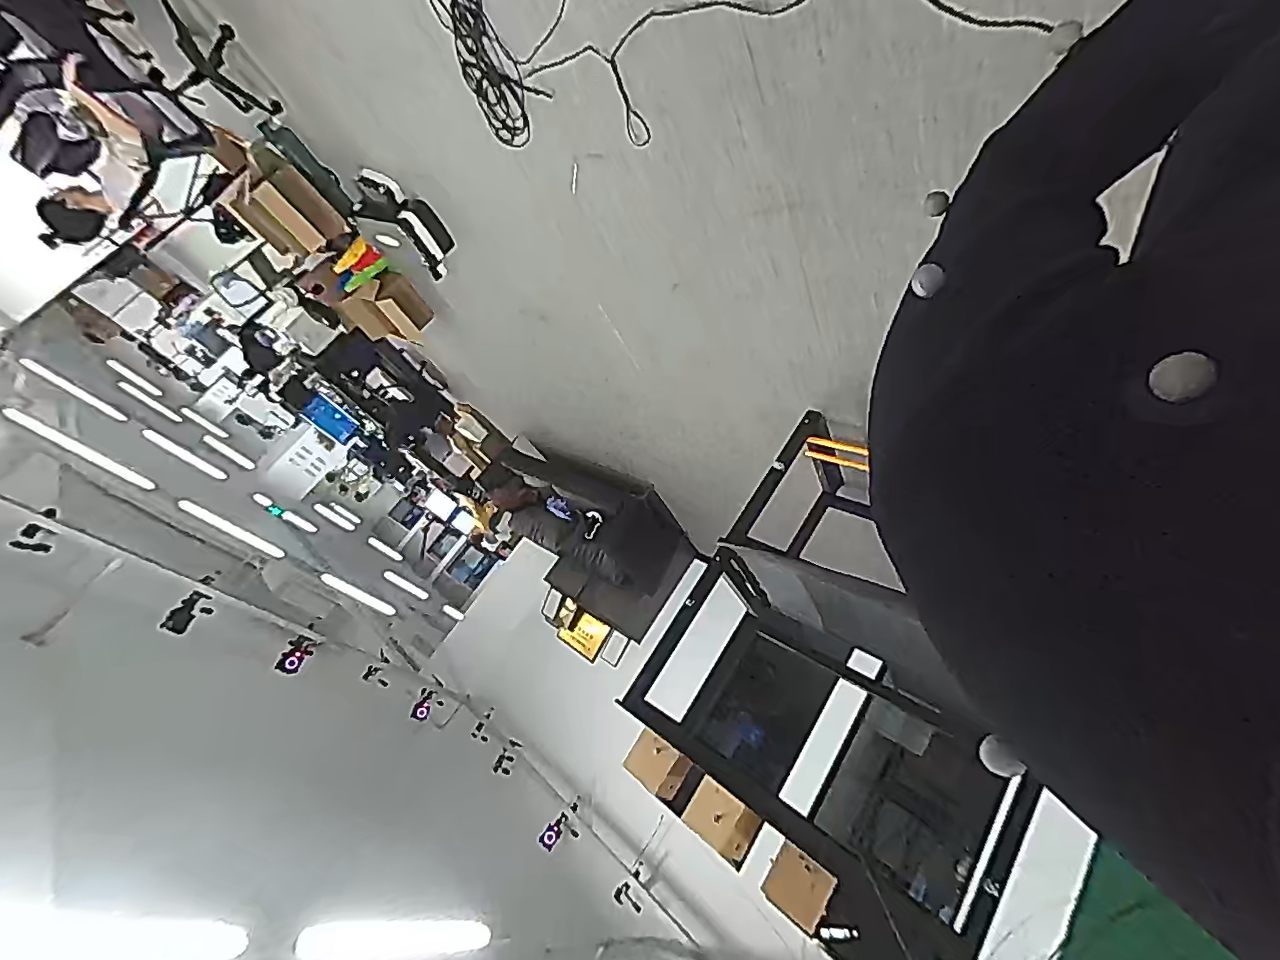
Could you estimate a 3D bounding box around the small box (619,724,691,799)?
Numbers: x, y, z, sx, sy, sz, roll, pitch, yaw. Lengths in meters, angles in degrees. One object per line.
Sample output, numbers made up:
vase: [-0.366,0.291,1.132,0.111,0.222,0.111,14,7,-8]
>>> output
small box: [0.061,1.022,1.965,0.168,0.176,0.179,23,158,36]

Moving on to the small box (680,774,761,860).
small box: [0.267,1.095,1.769,0.168,0.176,0.179,19,157,46]
